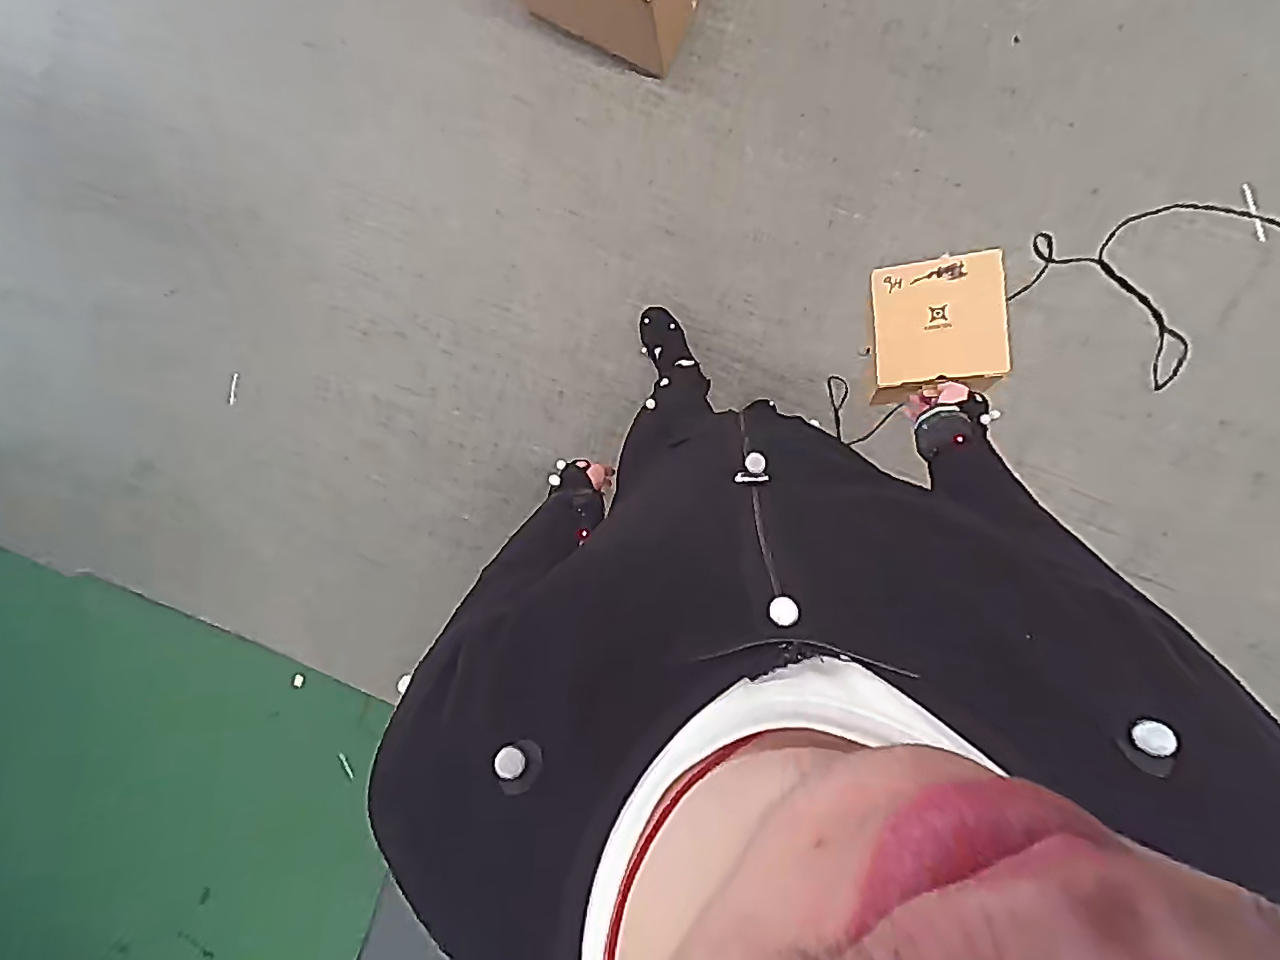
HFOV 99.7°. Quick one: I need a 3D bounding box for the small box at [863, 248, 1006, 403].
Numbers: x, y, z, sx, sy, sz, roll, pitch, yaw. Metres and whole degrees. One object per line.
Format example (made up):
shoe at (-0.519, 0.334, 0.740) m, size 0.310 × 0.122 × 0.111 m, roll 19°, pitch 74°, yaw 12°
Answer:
small box at (0.443, -0.222, 0.836) m, size 0.168 × 0.176 × 0.179 m, roll -7°, pitch 84°, yaw 22°
